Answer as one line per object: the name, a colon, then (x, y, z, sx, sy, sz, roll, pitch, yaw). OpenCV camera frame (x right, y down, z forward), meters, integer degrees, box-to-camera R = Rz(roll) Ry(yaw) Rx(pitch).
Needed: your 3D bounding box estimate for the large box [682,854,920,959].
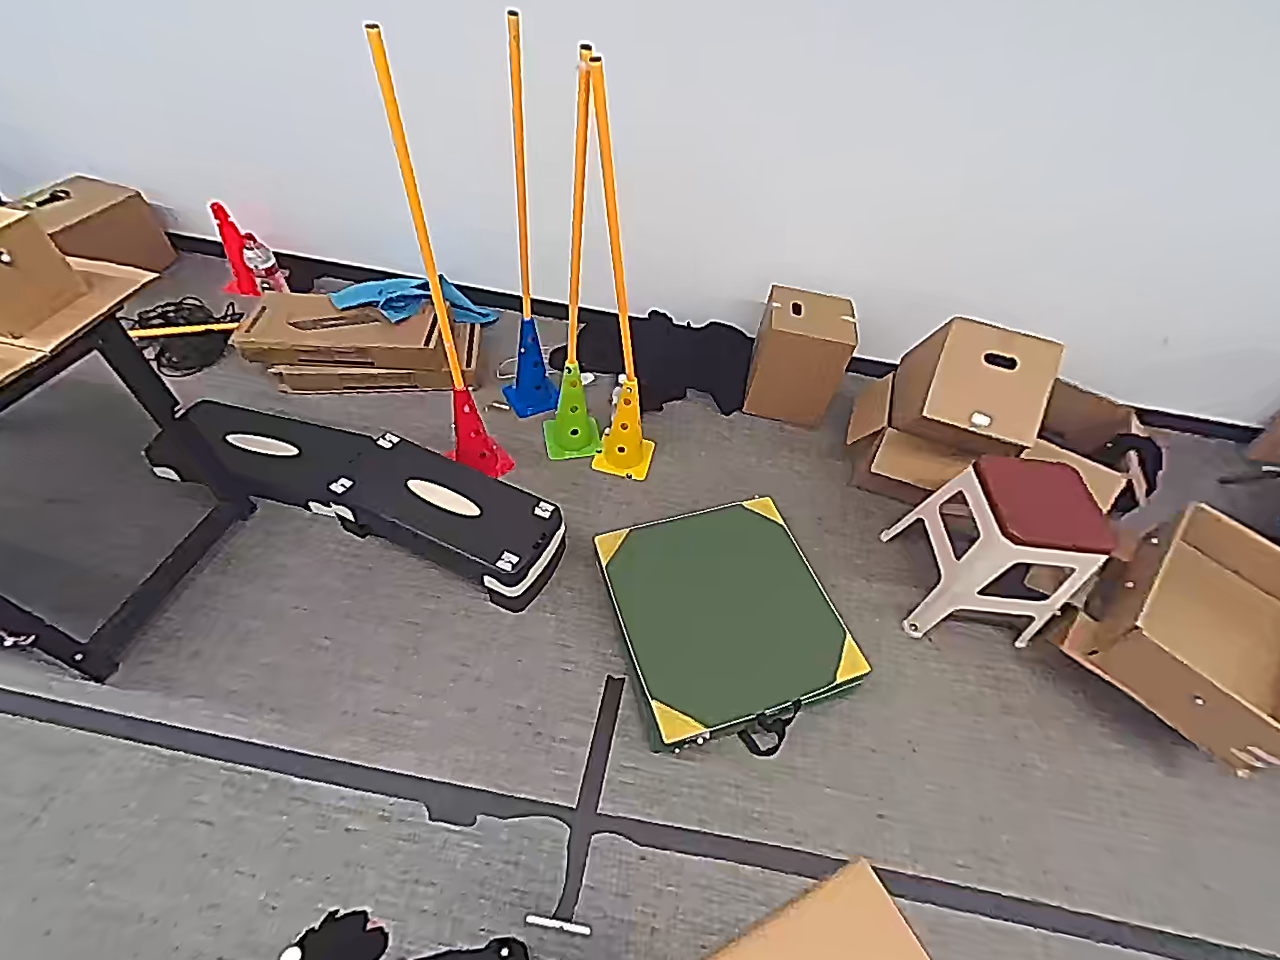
large box: (0.184, 0.772, 0.688, 0.320, 0.408, 0.320, -8, 43, -28)
